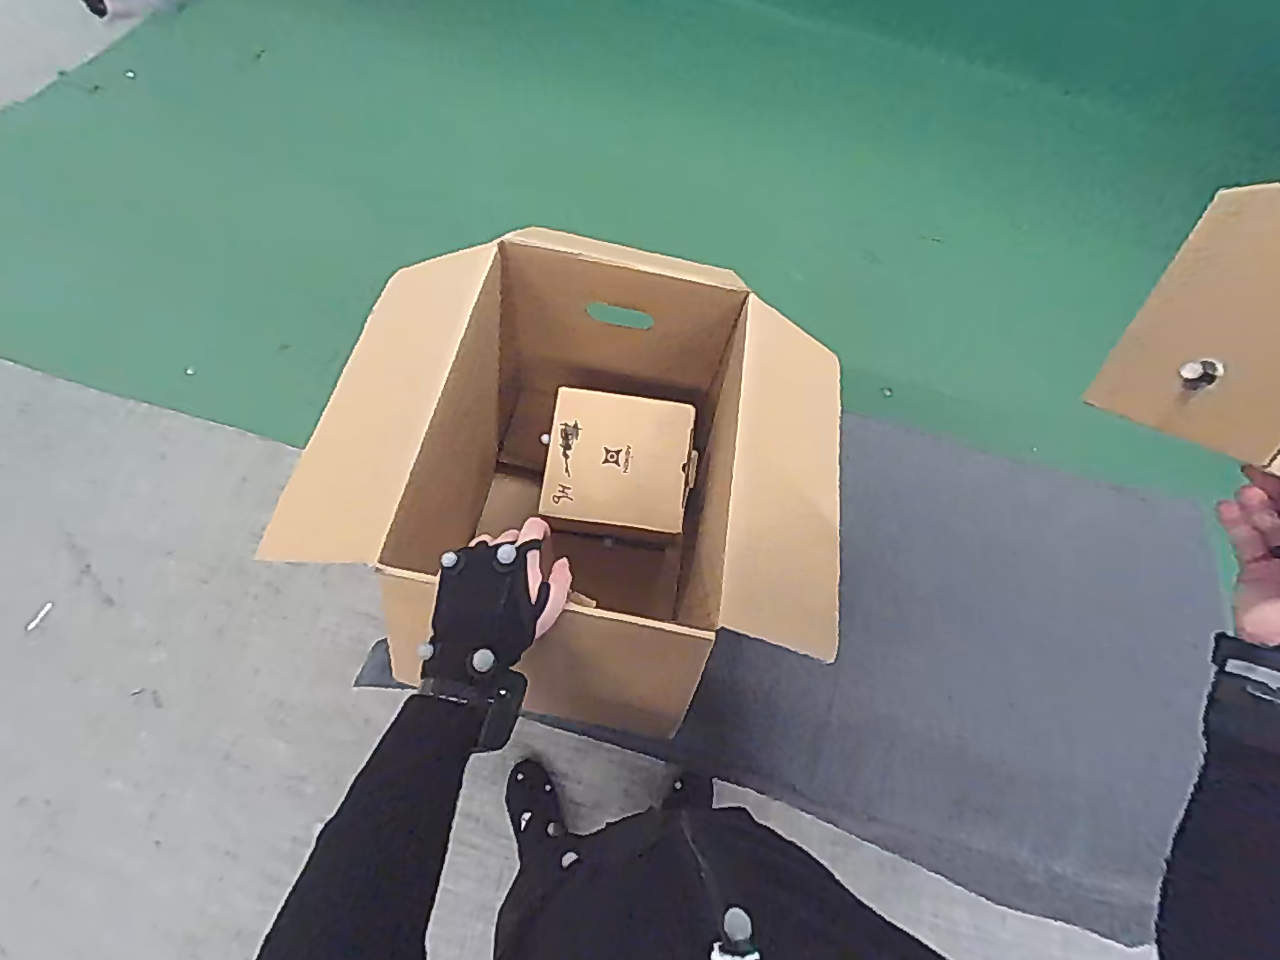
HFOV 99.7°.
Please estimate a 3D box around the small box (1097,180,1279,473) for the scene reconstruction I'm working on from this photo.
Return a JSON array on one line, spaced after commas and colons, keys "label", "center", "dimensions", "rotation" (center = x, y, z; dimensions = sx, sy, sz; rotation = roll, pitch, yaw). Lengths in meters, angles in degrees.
[{"label": "small box", "center": [0.484, -0.096, 0.380], "dimensions": [0.168, 0.179, 0.176], "rotation": [16, 23, -4]}]
